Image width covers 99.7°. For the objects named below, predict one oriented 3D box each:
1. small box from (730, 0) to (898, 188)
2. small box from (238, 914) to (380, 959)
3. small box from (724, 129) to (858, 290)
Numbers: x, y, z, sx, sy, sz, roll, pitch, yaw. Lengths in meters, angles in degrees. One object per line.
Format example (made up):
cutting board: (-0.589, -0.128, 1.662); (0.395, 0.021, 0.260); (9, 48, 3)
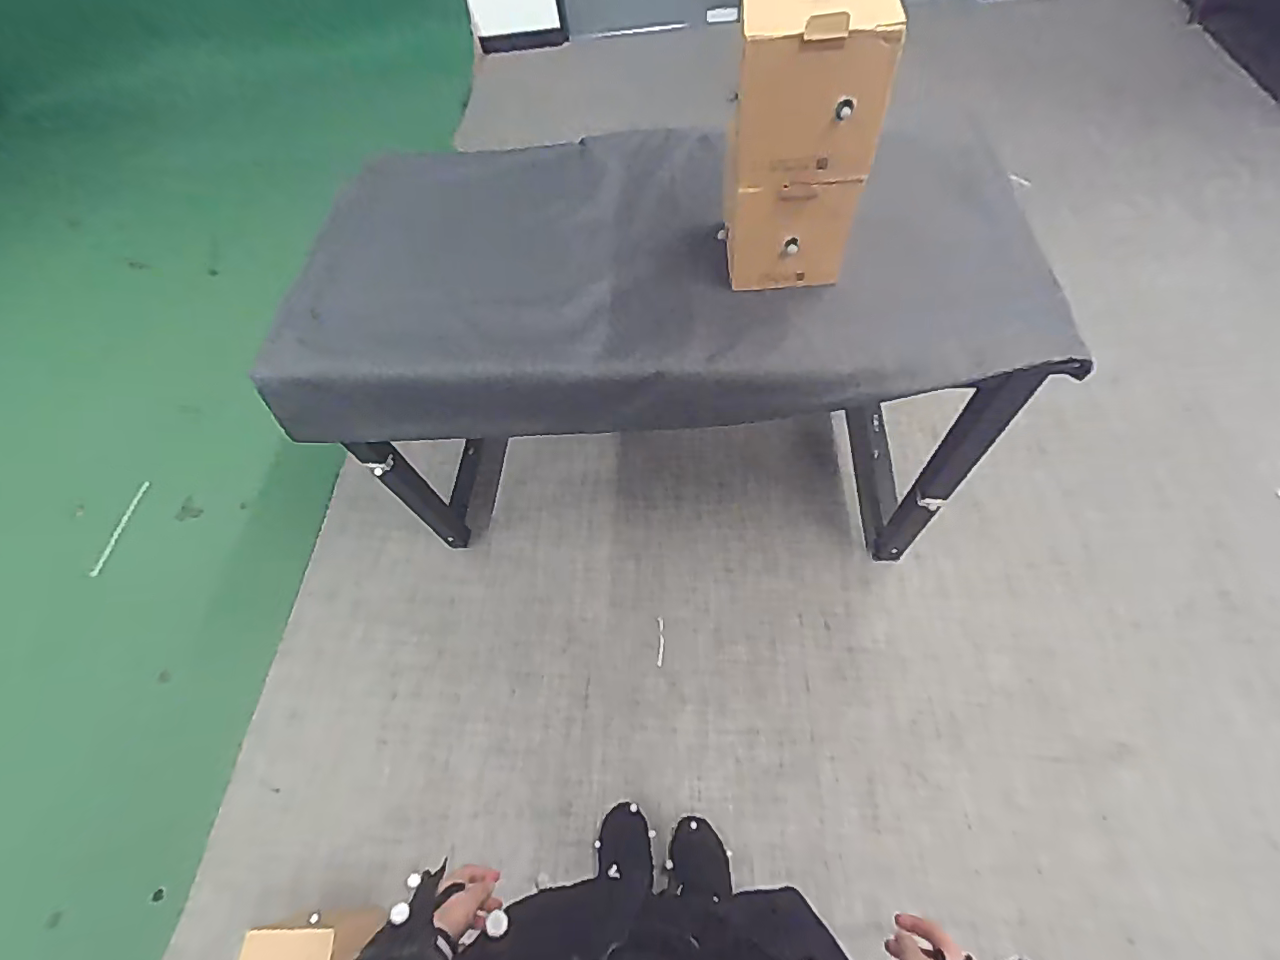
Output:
small box: (0.202, -0.489, 0.678); (0.168, 0.176, 0.179); (1, 59, 7)
small box: (-0.611, 0.913, 0.990); (0.179, 0.176, 0.168); (-5, 58, 5)
small box: (0.214, -0.407, 0.818); (0.168, 0.176, 0.179); (-2, 60, 6)
